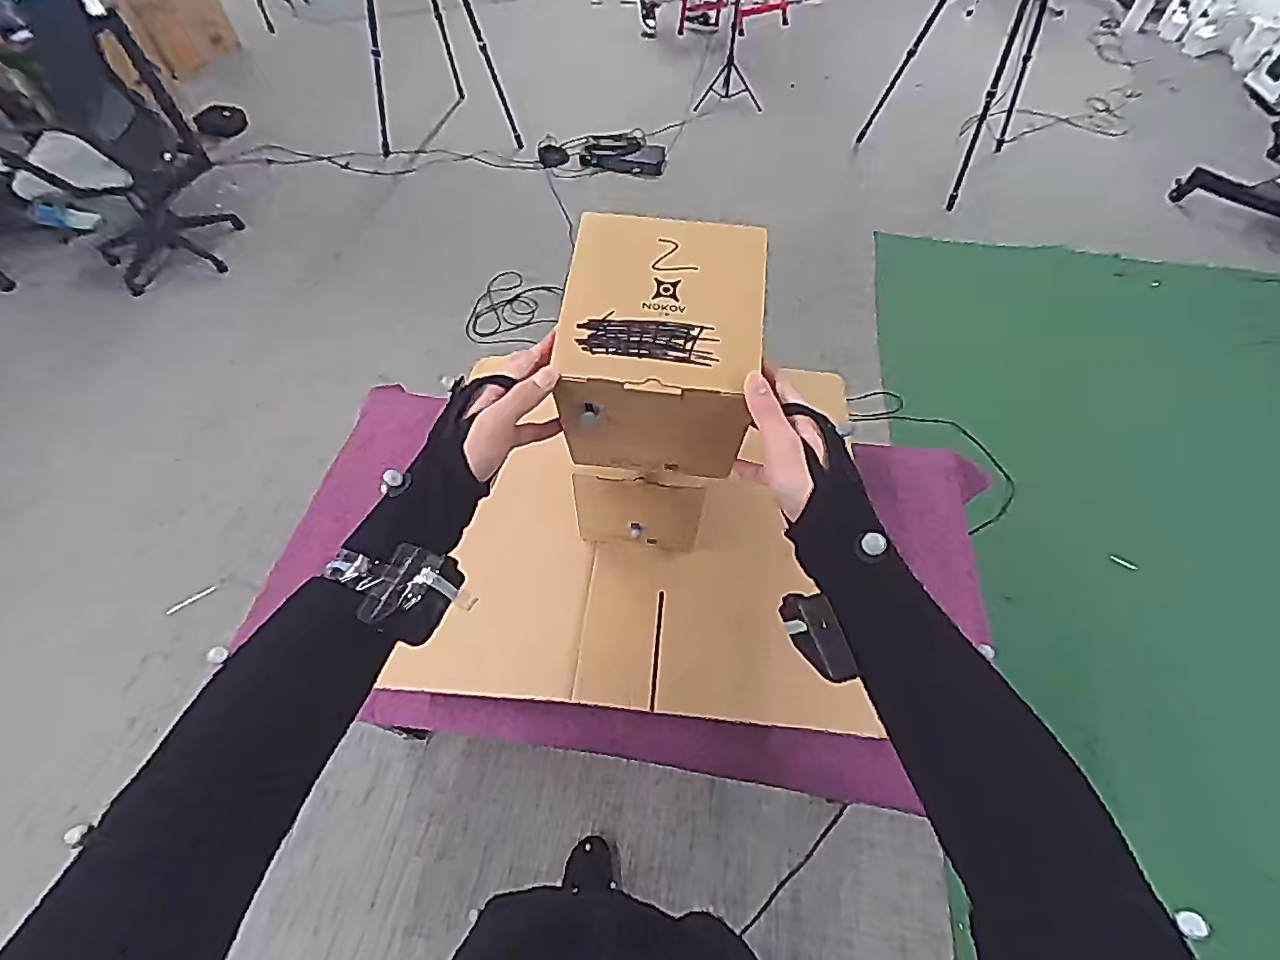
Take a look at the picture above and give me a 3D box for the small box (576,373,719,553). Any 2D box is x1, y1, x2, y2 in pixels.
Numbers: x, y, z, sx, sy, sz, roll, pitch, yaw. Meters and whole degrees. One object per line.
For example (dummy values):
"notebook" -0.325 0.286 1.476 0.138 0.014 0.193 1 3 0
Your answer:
"small box" 0.012 -0.021 0.751 0.168 0.176 0.179 7 57 3
